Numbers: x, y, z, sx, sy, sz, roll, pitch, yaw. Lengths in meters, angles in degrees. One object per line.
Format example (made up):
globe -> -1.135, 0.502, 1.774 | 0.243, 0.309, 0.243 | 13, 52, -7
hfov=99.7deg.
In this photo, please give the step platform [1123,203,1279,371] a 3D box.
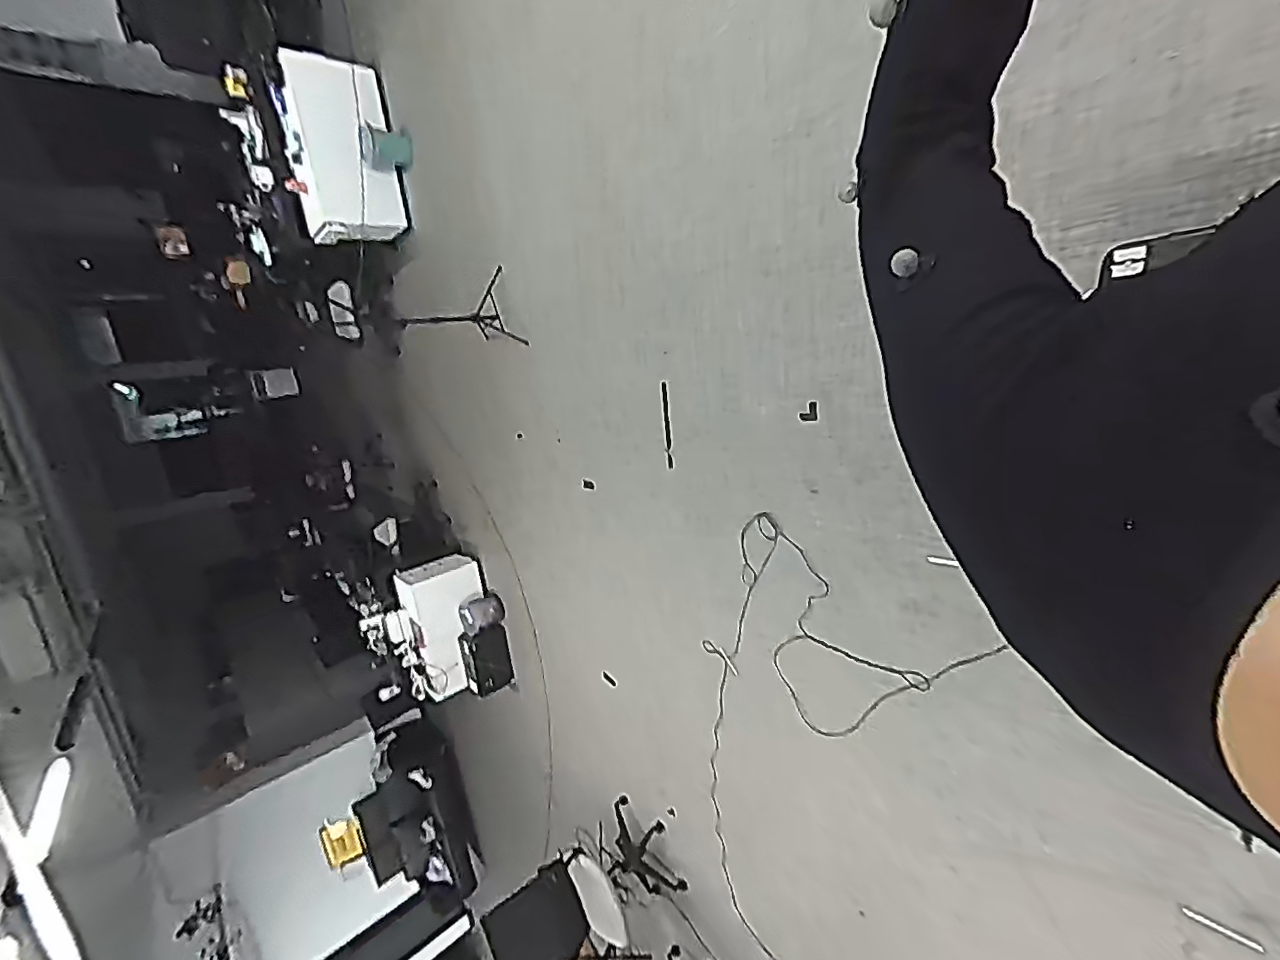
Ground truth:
step platform -> 1.275, -0.362, 0.915 | 0.684, 0.204, 0.286 | 4, 107, 48
